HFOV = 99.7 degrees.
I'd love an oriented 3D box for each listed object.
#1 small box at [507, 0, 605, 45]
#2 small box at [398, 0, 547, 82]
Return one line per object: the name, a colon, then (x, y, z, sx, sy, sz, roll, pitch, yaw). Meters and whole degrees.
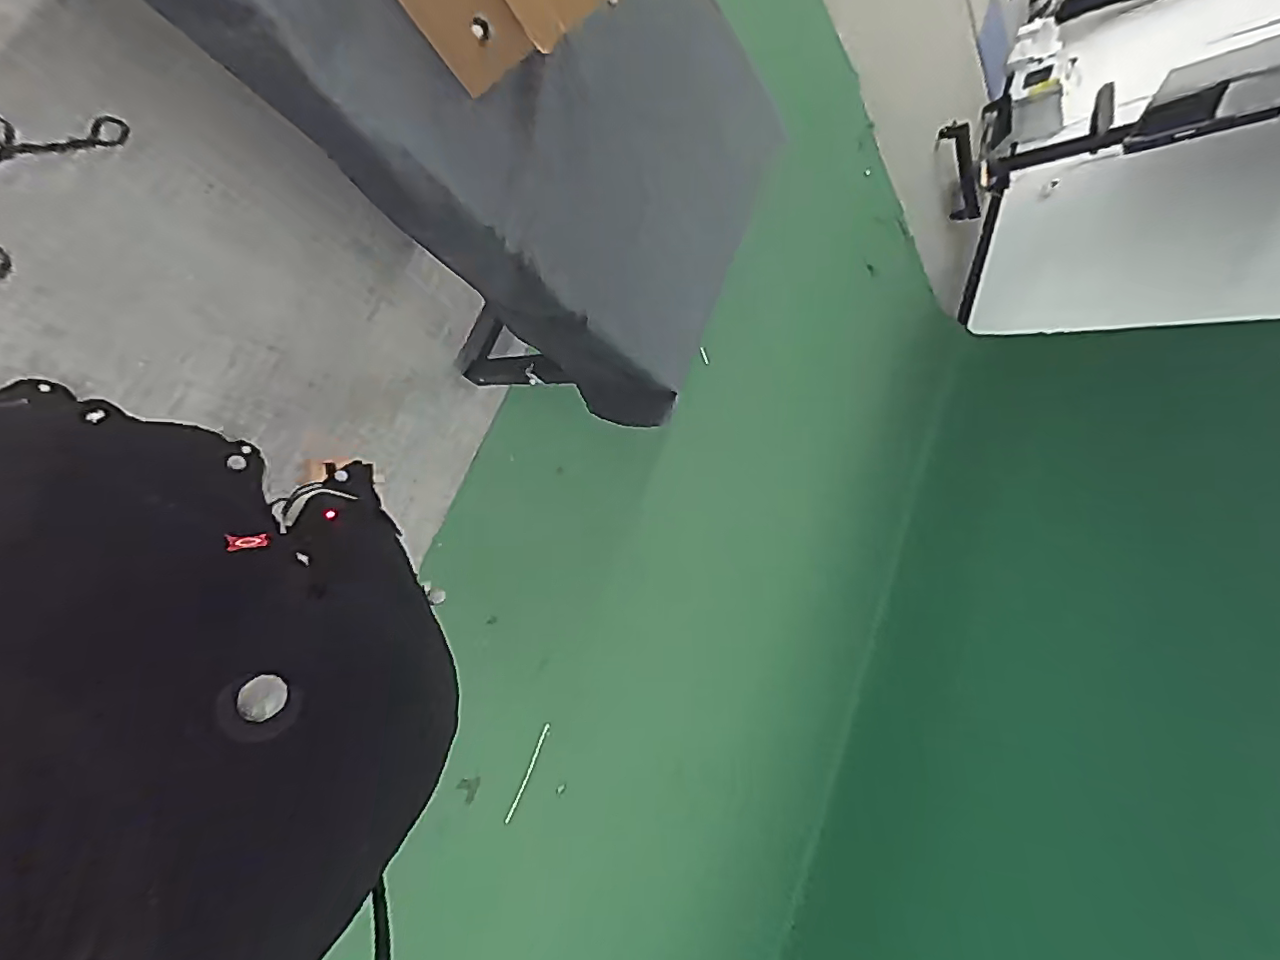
small box: (-0.054, -0.532, 0.457, 0.179, 0.176, 0.168, 46, 64, -40)
small box: (-0.161, -0.570, 0.575, 0.179, 0.176, 0.168, 43, 66, -39)
